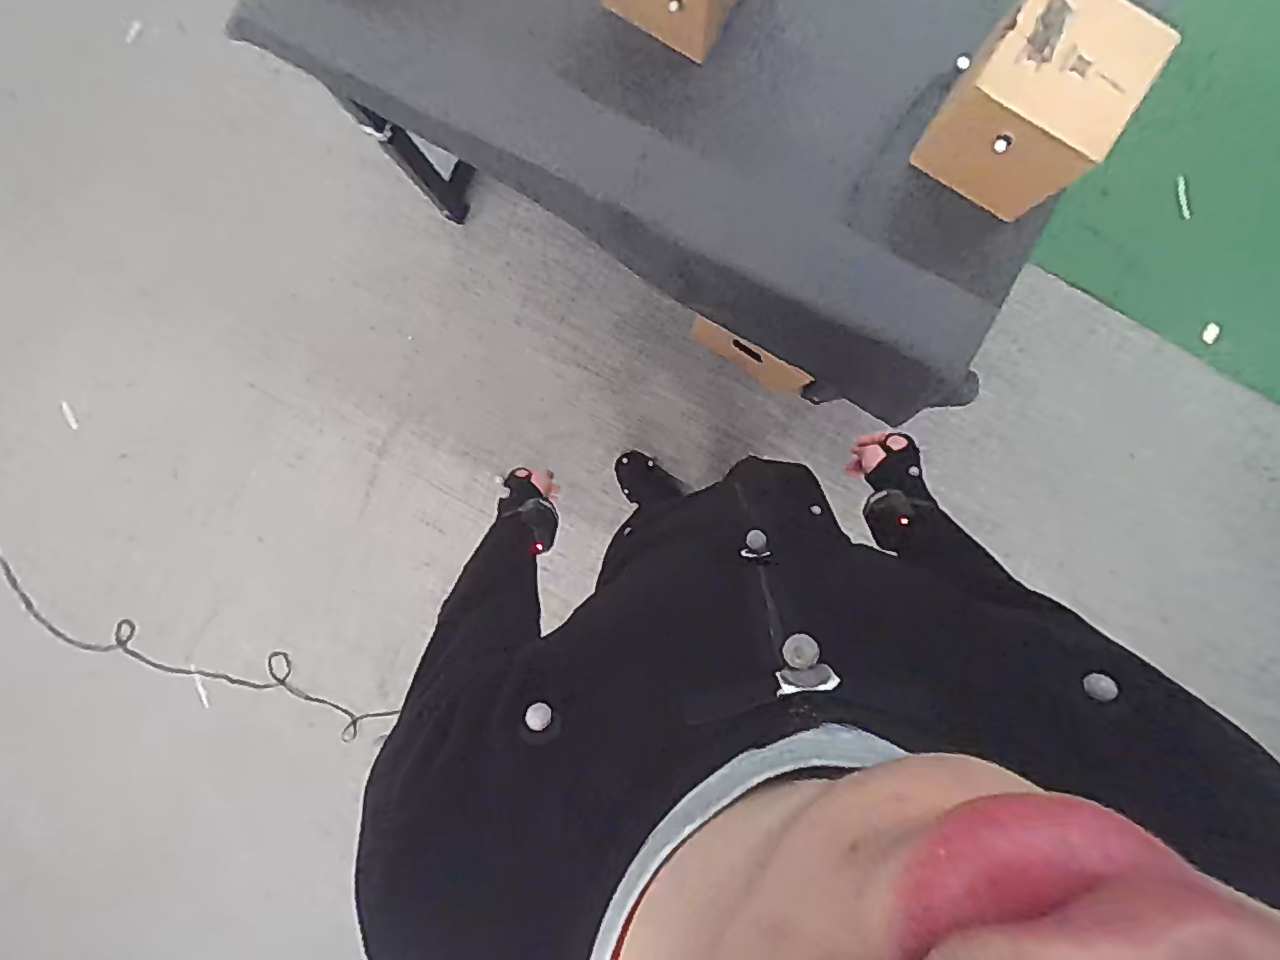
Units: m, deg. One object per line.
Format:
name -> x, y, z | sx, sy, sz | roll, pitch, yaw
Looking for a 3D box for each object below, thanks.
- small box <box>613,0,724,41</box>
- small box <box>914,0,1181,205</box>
small box -> 0.050, -0.721, 0.690 | 0.179, 0.176, 0.168 | 30, 93, 0
small box -> 0.495, -0.490, 0.690 | 0.179, 0.176, 0.168 | 31, 95, -1
